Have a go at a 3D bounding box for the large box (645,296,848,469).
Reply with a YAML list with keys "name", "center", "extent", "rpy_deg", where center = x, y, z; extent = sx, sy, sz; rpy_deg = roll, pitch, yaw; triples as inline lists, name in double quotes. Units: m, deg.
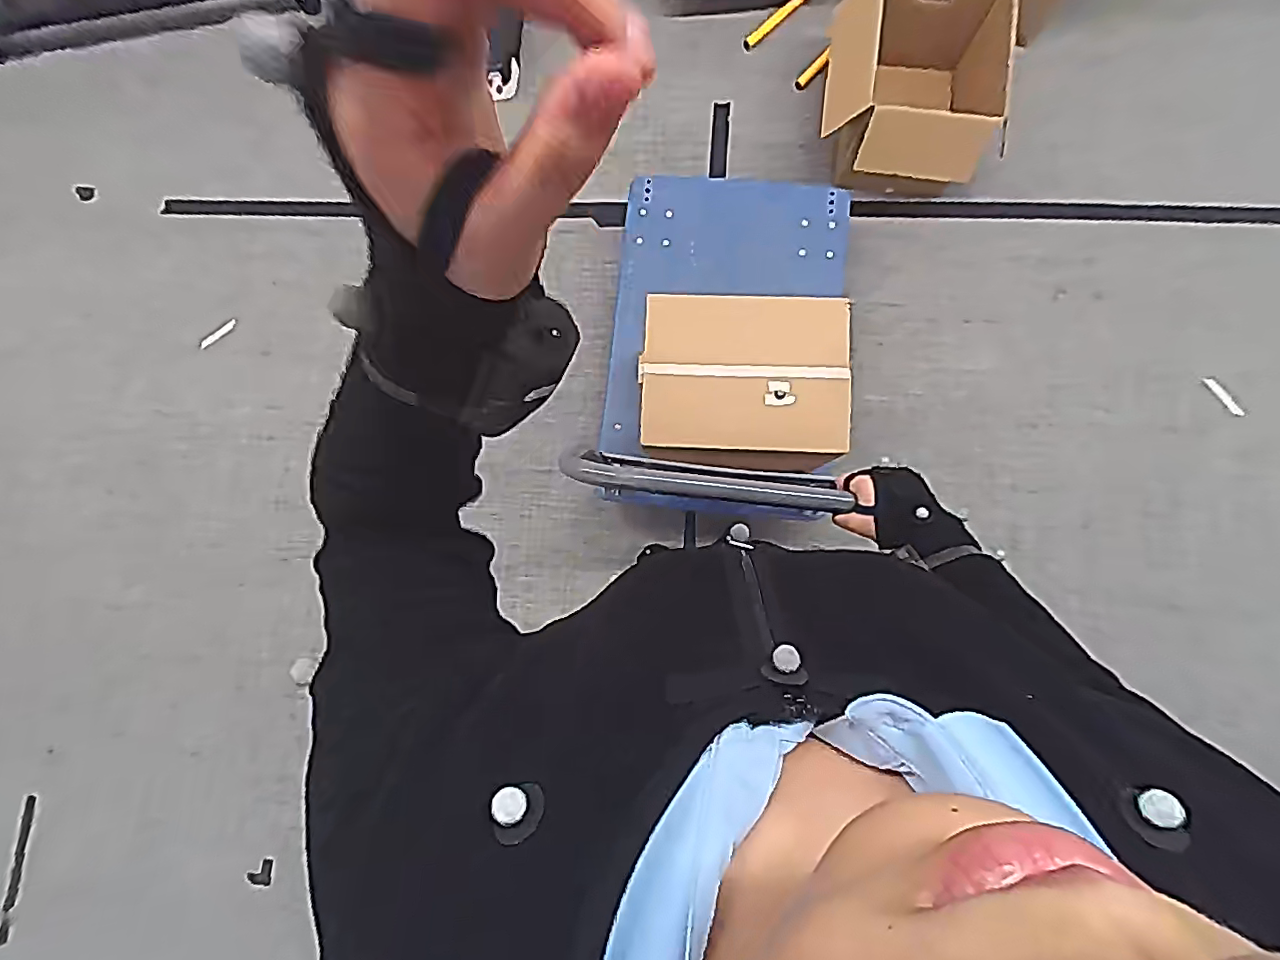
- name: "large box"
  center: [0.216, -0.200, 1.223]
  extent: [0.408, 0.320, 0.320]
  rpy_deg: [2, 84, 3]
